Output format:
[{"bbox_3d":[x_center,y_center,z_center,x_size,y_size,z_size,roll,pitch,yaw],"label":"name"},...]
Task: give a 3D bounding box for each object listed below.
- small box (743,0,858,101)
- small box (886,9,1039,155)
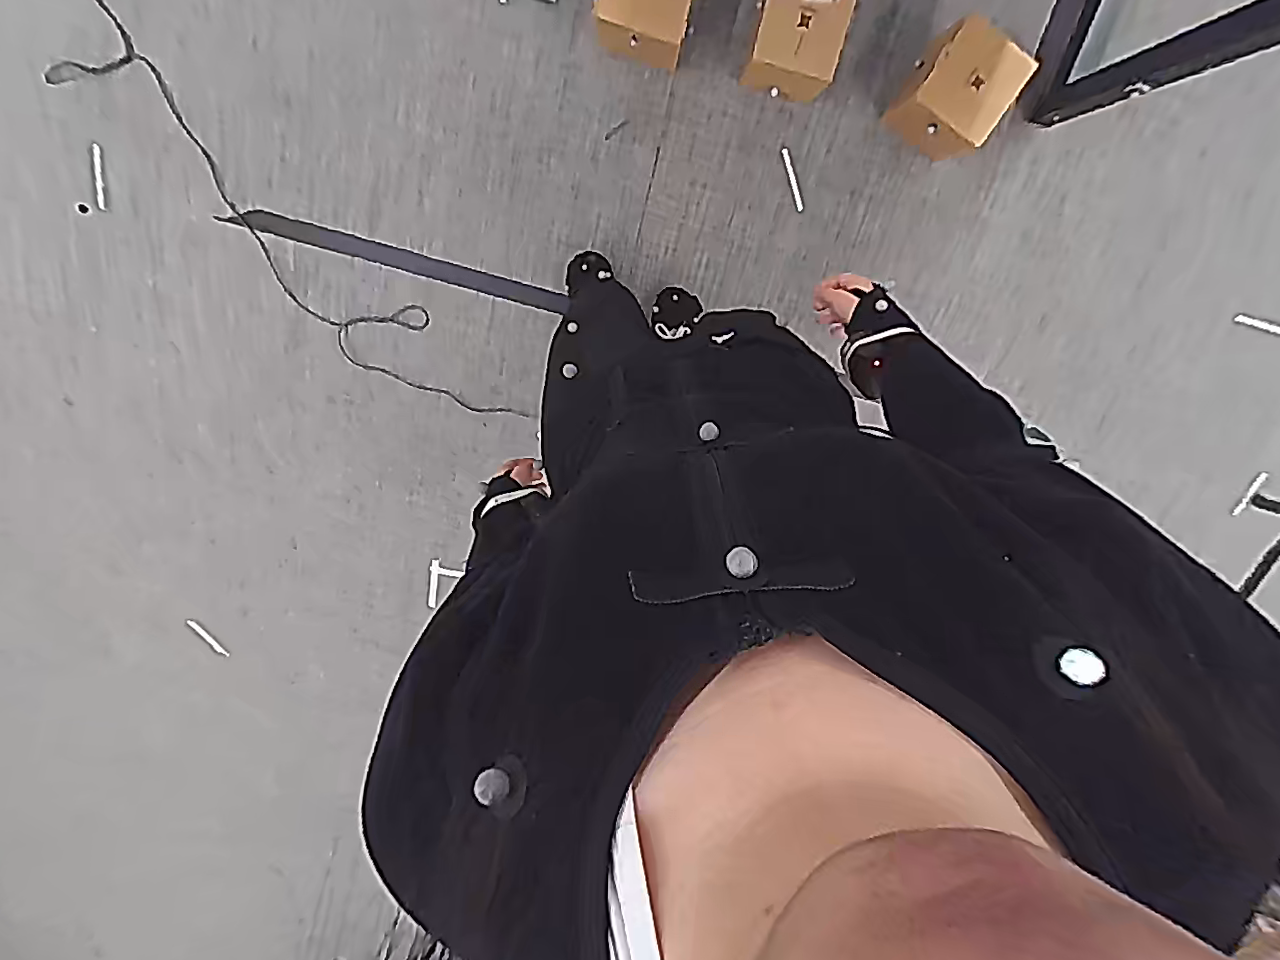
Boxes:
[{"bbox_3d":[0.318,-0.907,1.093,0.168,0.176,0.179,13,112,-4],"label":"small box"},{"bbox_3d":[0.660,-0.811,1.129,0.179,0.176,0.168,30,109,-10],"label":"small box"}]
